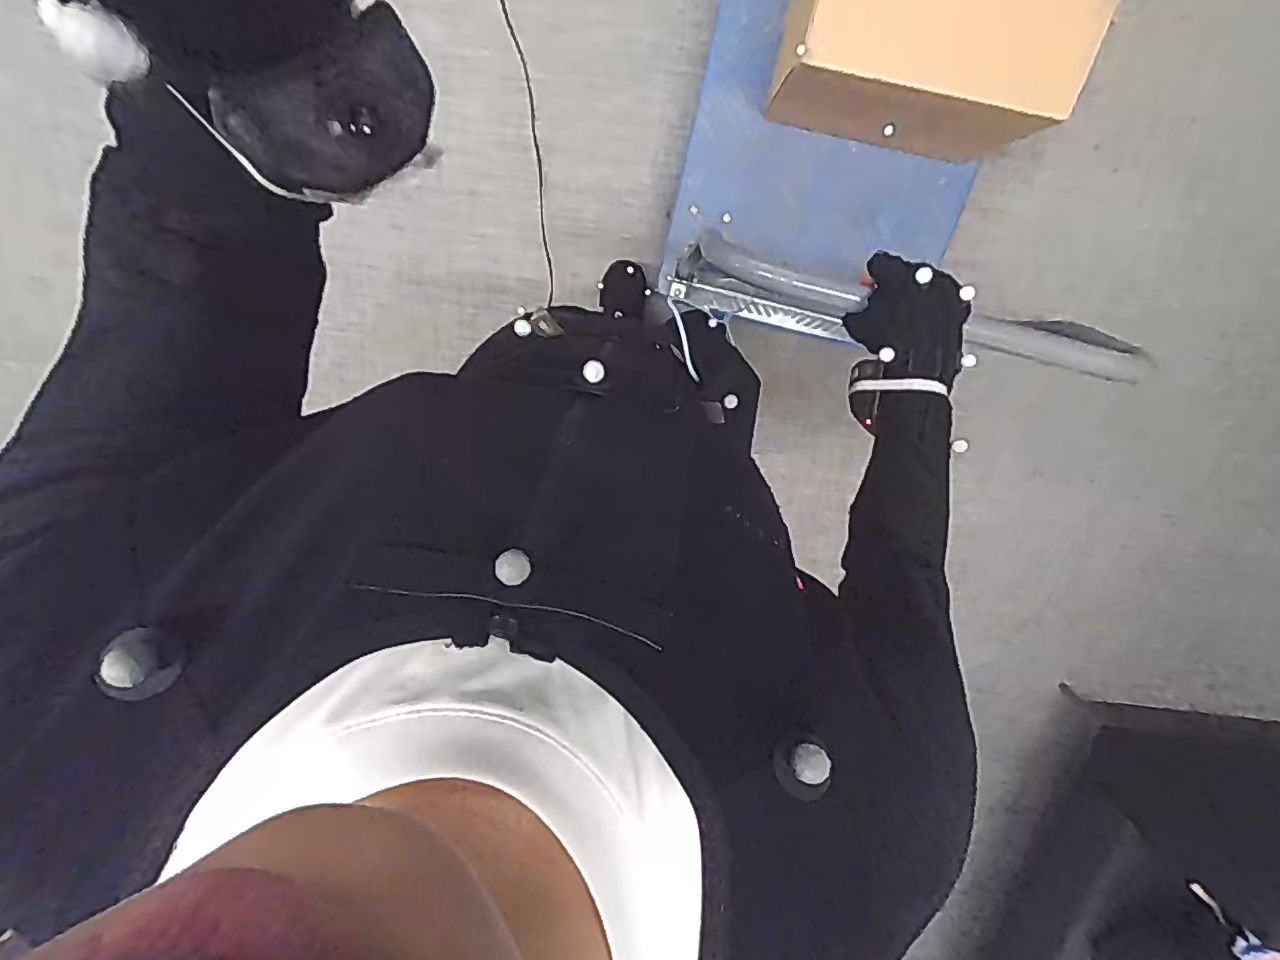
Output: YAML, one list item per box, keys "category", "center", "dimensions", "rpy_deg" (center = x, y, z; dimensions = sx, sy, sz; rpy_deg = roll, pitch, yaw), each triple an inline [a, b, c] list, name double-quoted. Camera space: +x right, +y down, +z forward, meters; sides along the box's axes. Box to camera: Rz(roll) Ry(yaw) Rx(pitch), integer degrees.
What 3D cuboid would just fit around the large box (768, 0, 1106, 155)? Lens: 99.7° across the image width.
- category: "large box"
  center: [0.464, -0.764, 0.881]
  dimensions: [0.408, 0.320, 0.320]
  rpy_deg: [11, 110, -1]
